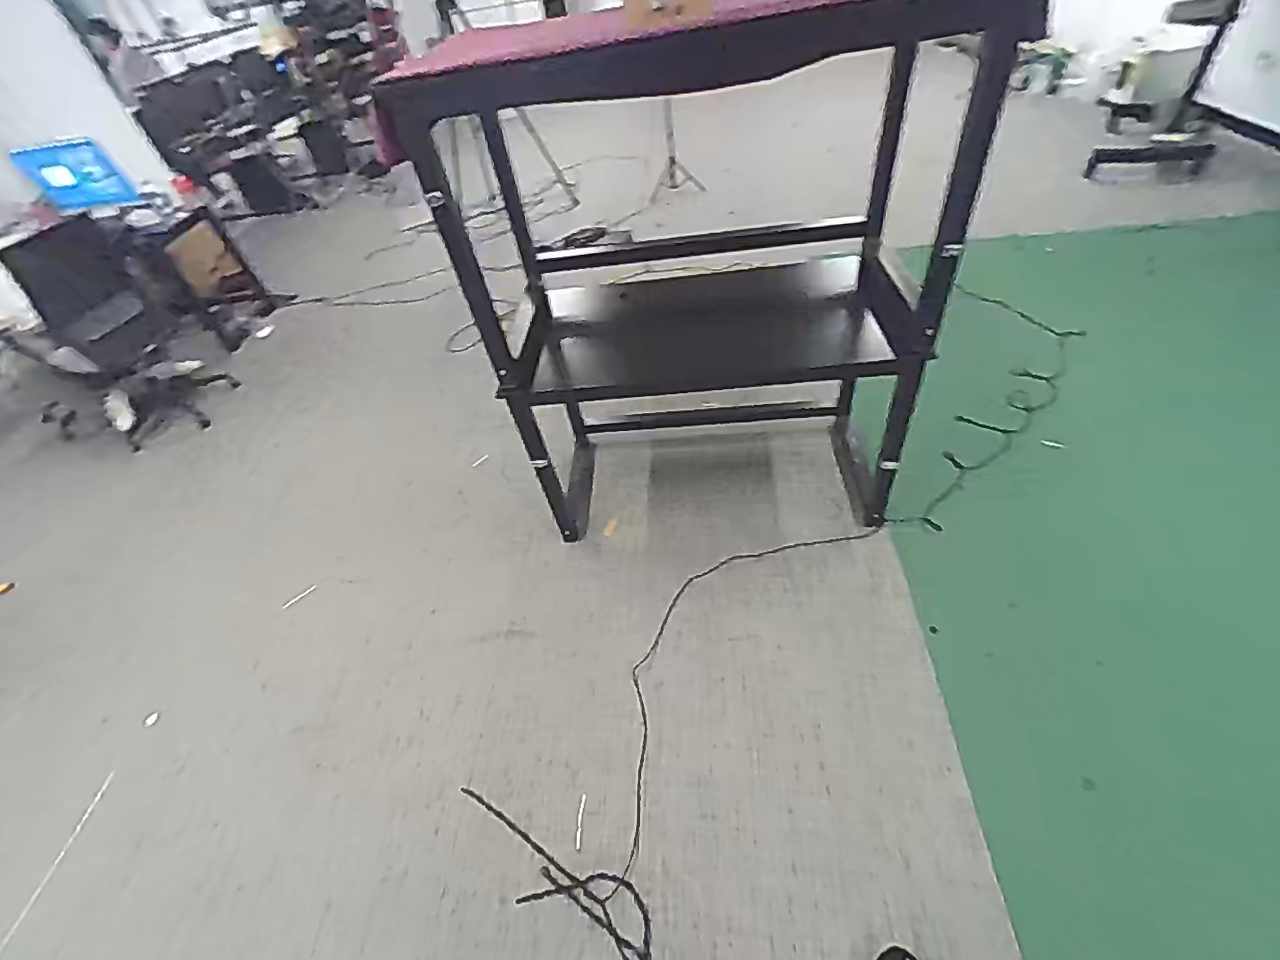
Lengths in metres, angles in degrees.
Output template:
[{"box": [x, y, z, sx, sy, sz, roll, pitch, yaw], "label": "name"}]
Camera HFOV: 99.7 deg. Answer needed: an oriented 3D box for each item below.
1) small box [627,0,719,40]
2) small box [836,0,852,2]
[{"box": [0.060, -0.953, 1.015, 0.168, 0.176, 0.179, -2, 46, 11], "label": "small box"}, {"box": [0.437, -0.981, 0.964, 0.168, 0.176, 0.179, -2, 46, 12], "label": "small box"}]
